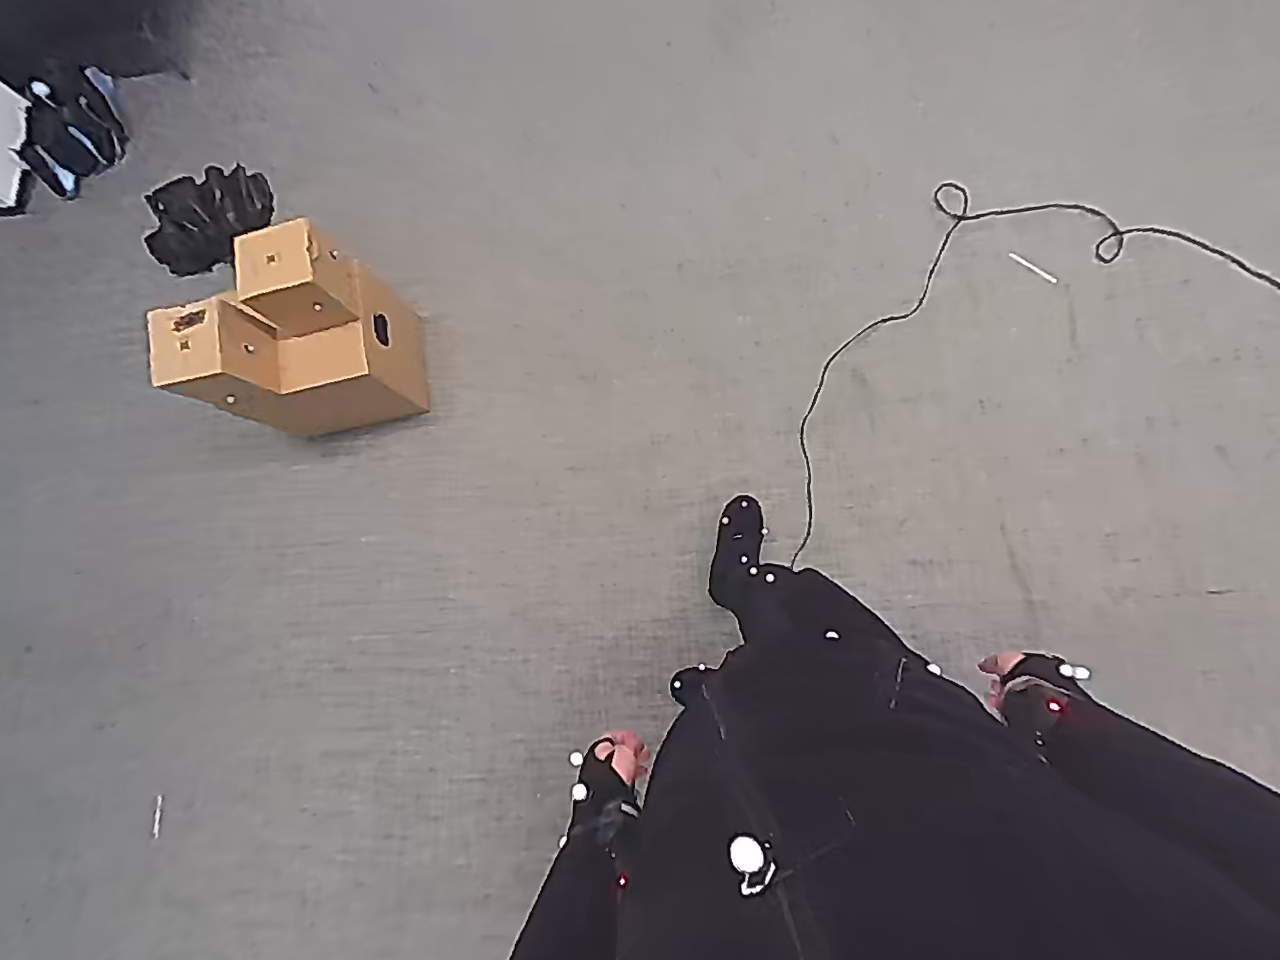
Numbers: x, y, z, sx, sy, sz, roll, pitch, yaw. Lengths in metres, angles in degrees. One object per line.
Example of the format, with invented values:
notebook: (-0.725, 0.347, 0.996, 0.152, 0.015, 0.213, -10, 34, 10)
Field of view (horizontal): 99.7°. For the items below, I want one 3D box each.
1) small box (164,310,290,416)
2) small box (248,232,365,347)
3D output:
small box: (-0.953, -0.265, 1.258, 0.168, 0.176, 0.179, -11, 81, 5)
small box: (-0.773, -0.440, 1.270, 0.179, 0.176, 0.168, -15, 75, 5)
